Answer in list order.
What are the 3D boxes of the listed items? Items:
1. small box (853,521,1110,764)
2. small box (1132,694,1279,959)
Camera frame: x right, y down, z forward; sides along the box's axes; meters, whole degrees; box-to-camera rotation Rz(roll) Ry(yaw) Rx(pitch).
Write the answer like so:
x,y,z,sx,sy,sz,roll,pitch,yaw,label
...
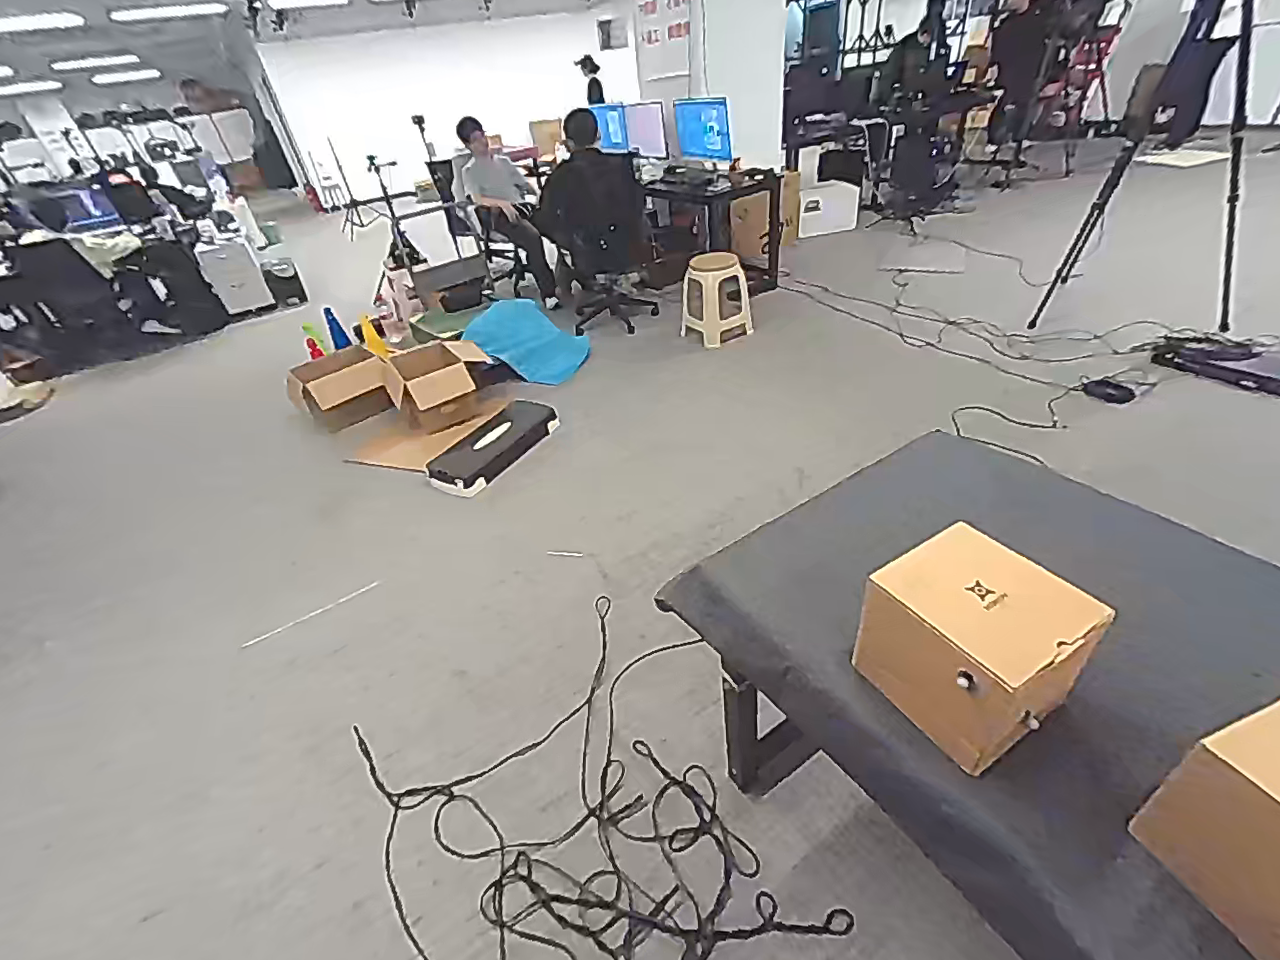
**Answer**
x,y,z,sx,sy,sz,roll,pitch,yaw,label
0.377,0.184,0.634,0.168,0.176,0.179,-23,40,-20,small box
0.571,0.297,0.437,0.168,0.176,0.179,-18,35,-11,small box
